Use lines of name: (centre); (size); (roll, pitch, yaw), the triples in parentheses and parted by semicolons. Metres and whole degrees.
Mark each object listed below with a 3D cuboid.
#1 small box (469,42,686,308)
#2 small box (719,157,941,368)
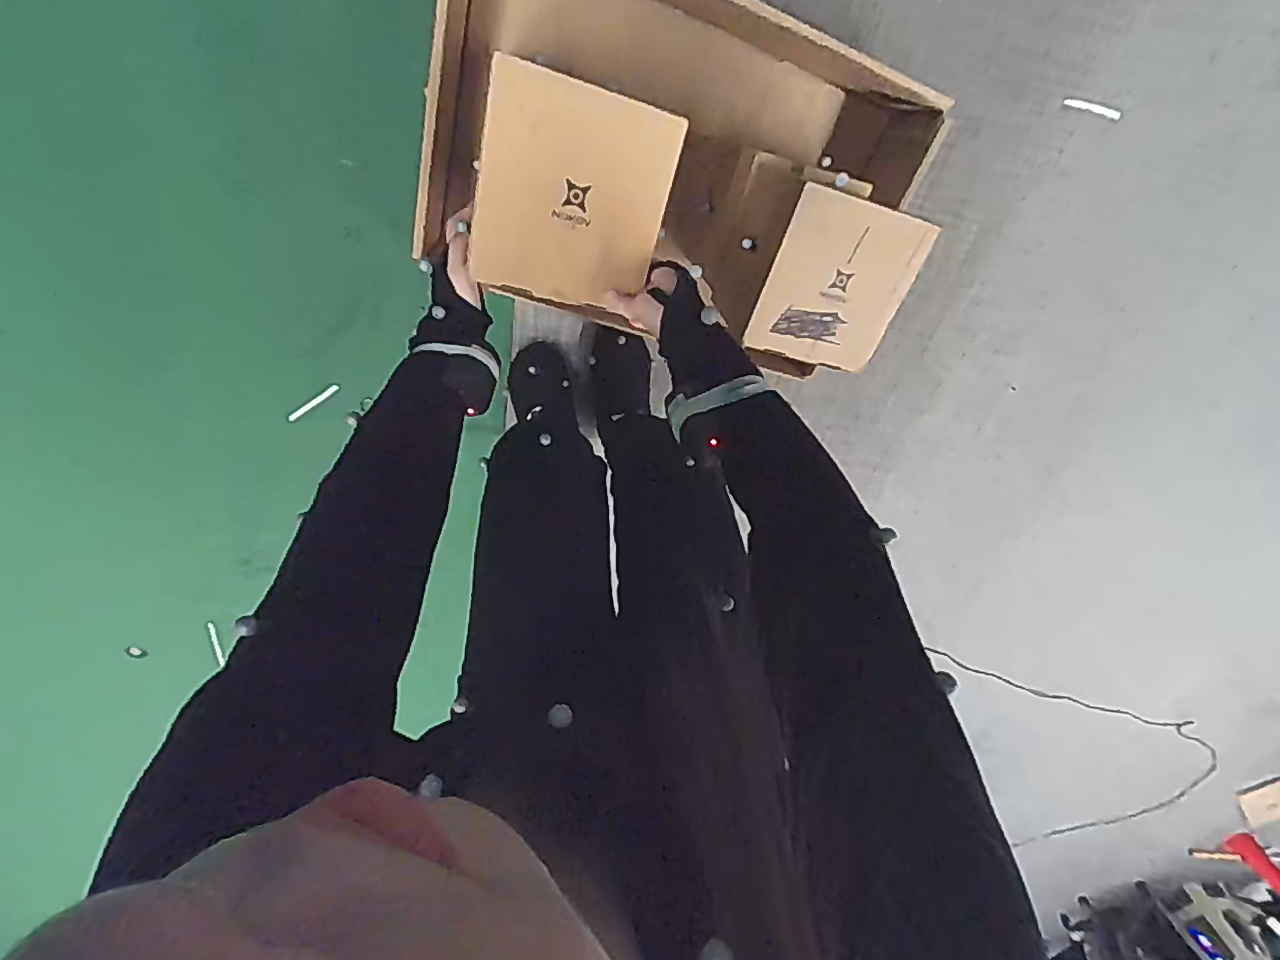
small box: (-0.075, -0.299, 0.543); (0.168, 0.176, 0.179); (7, 123, -19)
small box: (0.206, -0.264, 0.651); (0.168, 0.176, 0.179); (10, 124, -14)
